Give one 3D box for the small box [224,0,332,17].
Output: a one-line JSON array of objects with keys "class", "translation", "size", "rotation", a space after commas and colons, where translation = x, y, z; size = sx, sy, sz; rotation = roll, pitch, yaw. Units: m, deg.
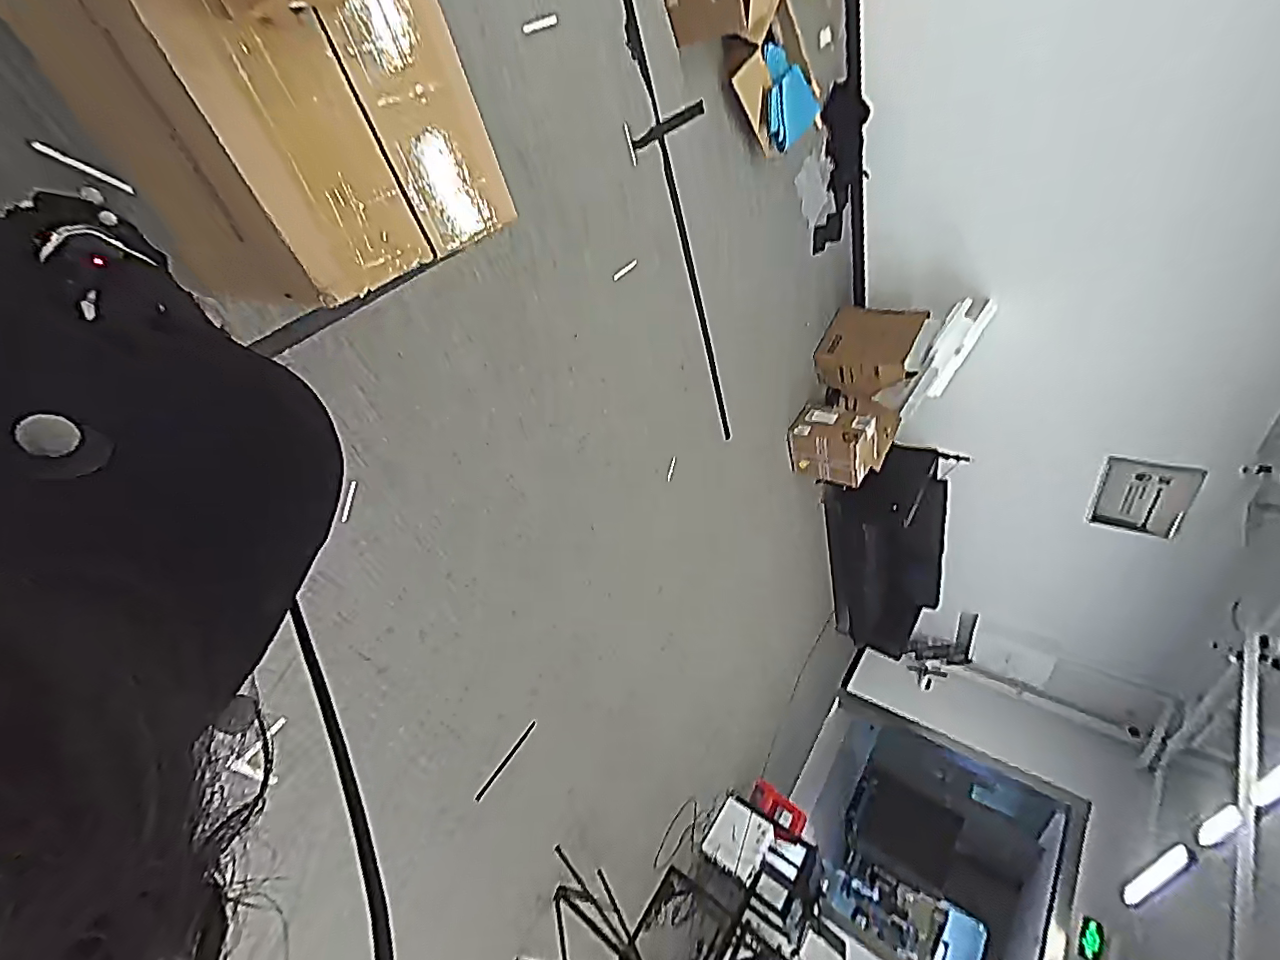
[{"class": "small box", "translation": [-0.420, -0.664, 0.609], "size": [0.168, 0.176, 0.179], "rotation": [-46, 137, -30]}]
